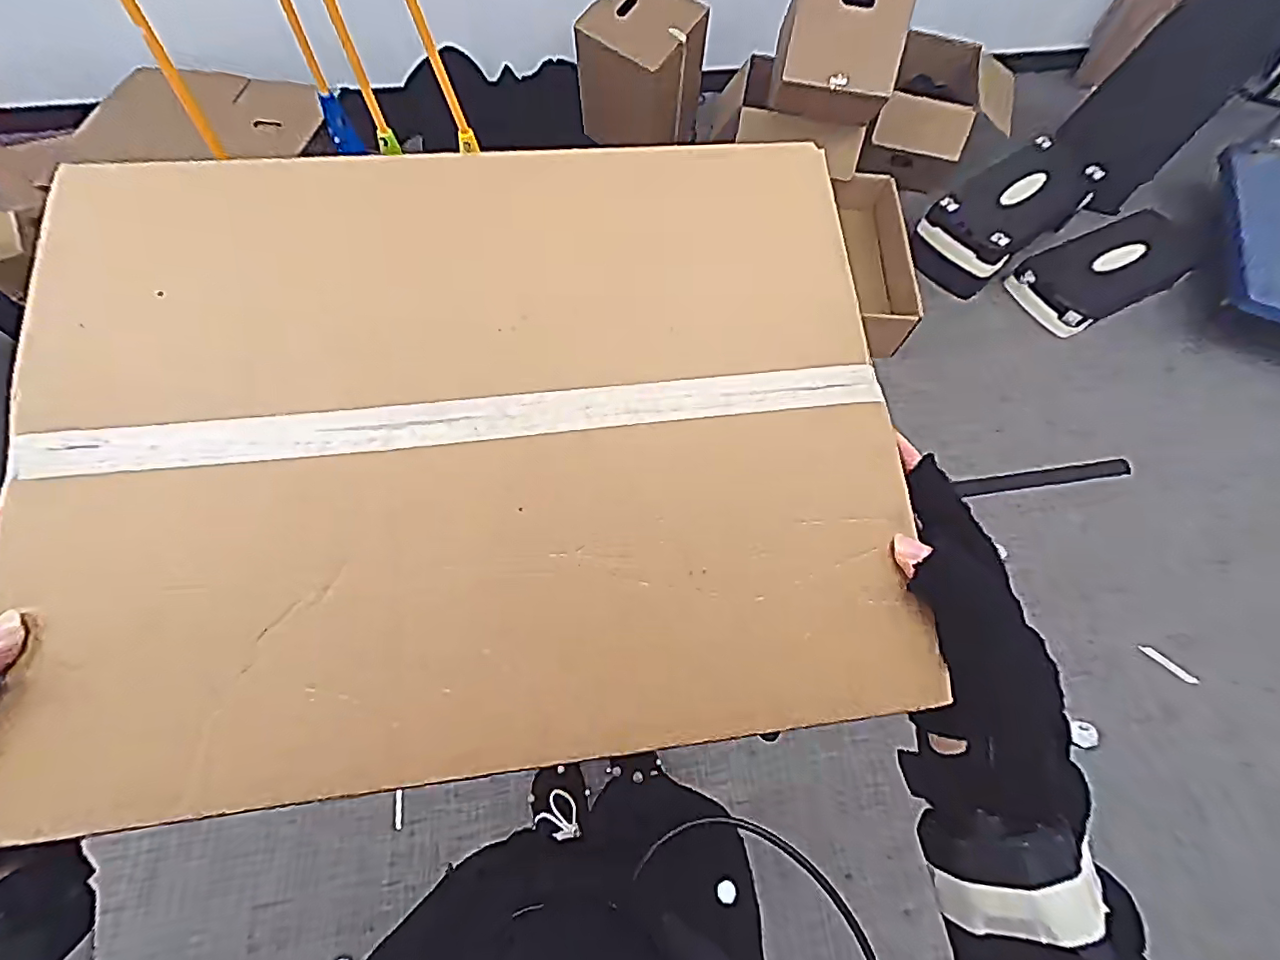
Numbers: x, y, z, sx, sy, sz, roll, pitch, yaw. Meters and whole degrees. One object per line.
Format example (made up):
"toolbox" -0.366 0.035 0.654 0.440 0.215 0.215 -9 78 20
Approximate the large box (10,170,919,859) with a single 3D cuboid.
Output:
"large box" -0.089 0.018 0.415 0.408 0.320 0.320 -6 76 -6
